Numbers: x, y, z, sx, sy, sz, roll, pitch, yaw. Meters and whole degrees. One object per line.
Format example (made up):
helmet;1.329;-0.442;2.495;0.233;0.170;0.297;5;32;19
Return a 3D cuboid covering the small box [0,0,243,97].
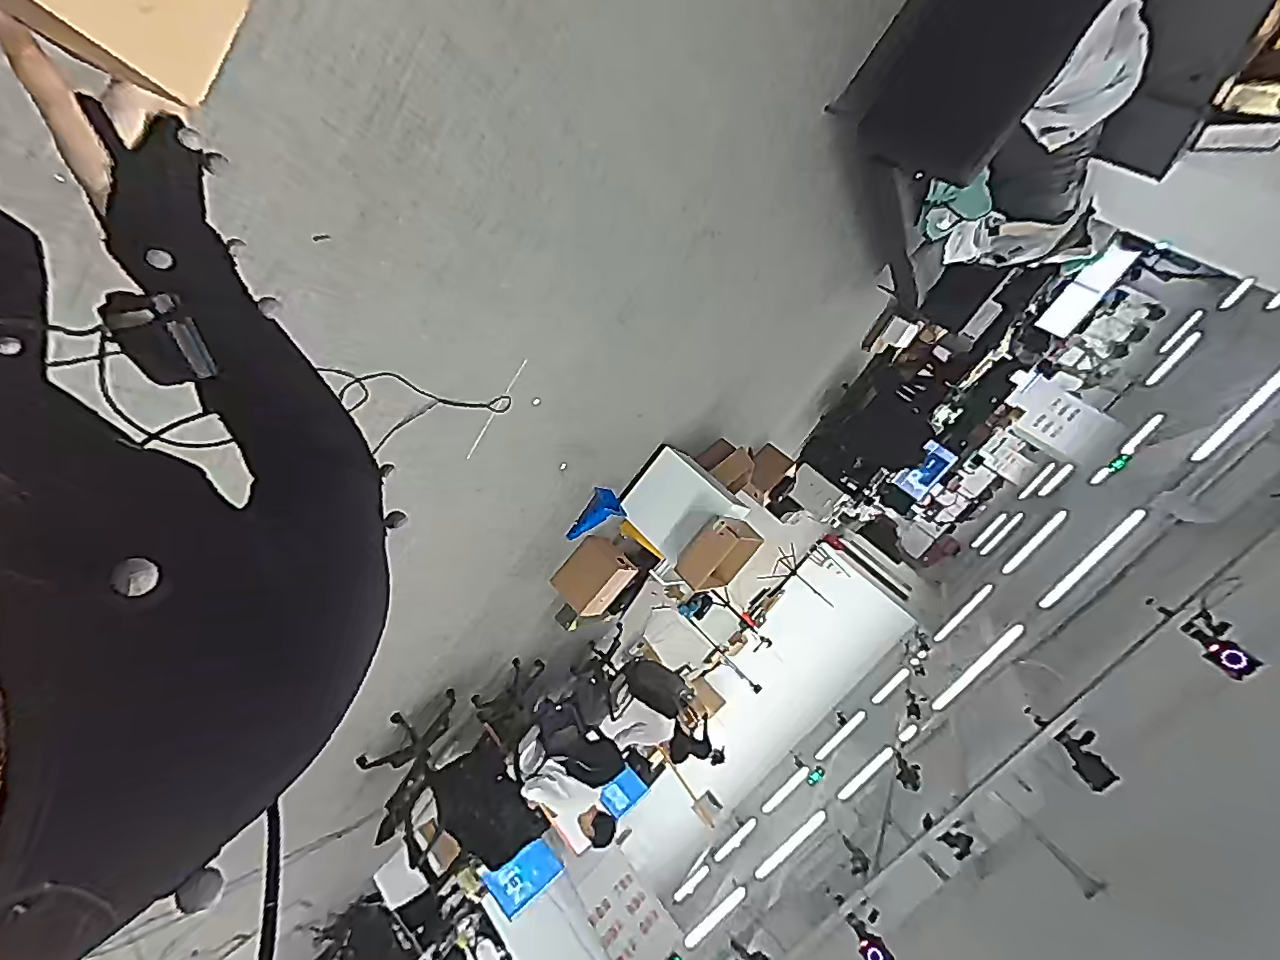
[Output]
small box;-0.281;-0.320;0.230;0.179;0.176;0.168;-60;157;4
